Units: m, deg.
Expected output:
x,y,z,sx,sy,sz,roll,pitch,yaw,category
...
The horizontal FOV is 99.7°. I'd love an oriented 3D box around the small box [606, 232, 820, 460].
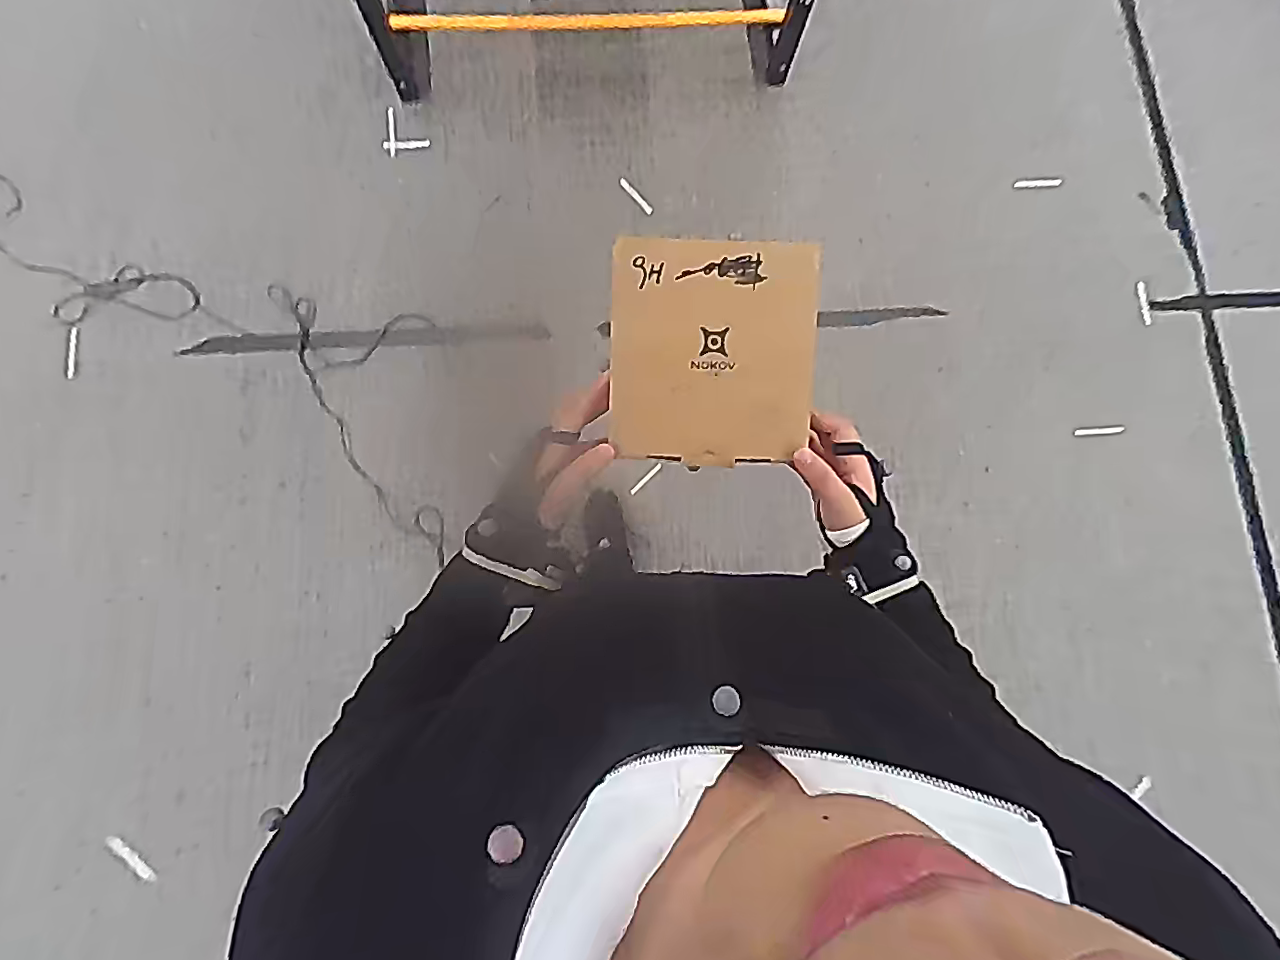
x,y,z,sx,sy,sz,roll,pitch,yaw,category
0.056,-0.116,0.512,0.168,0.176,0.179,1,97,-1,small box
